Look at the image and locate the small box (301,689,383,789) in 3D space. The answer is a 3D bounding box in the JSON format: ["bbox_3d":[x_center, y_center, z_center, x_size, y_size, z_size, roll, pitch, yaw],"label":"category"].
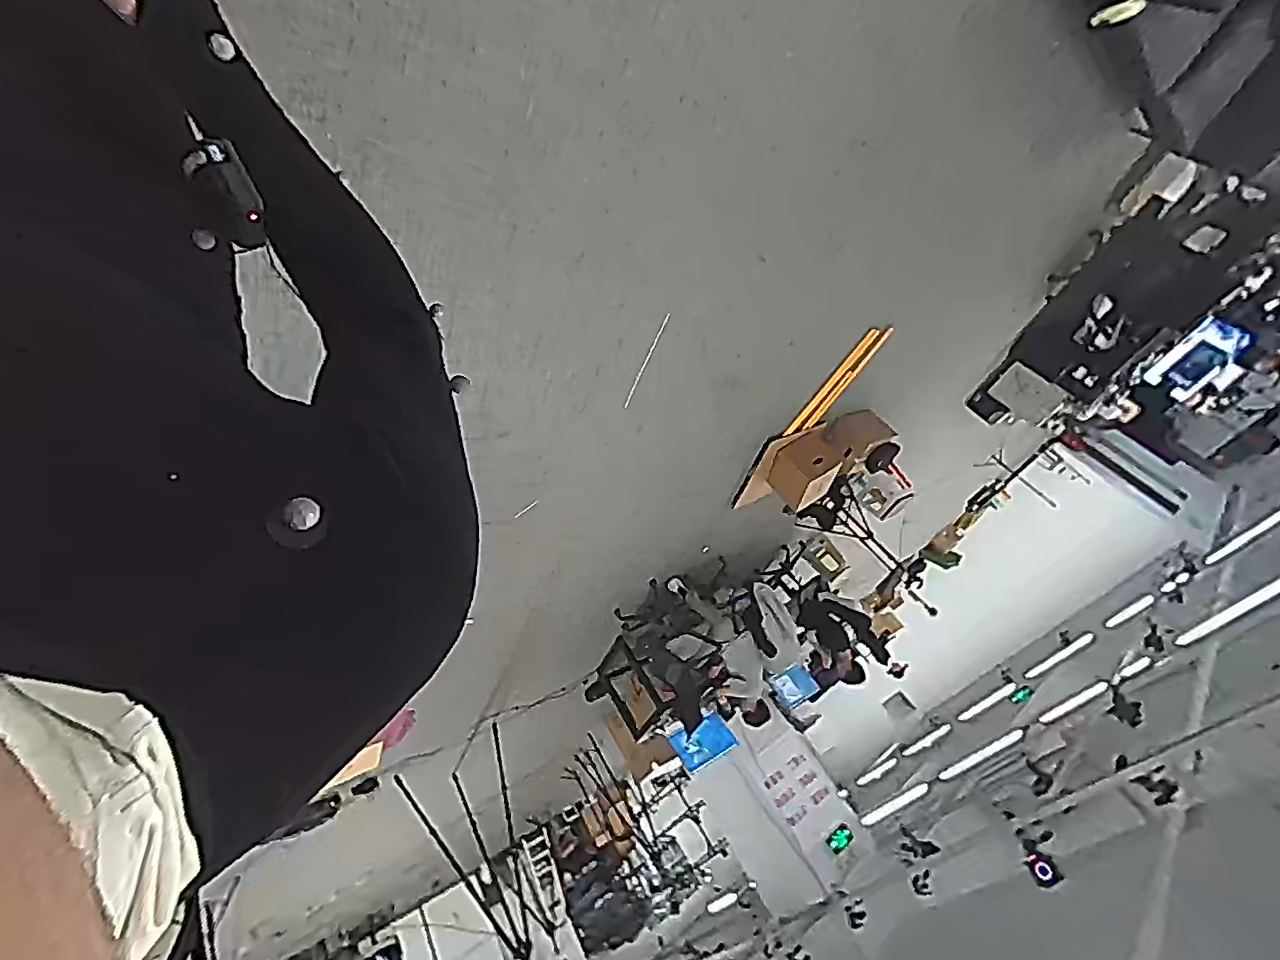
[{"bbox_3d":[-0.844,0.726,1.525,0.168,0.176,0.179,-10,140,-40],"label":"small box"}]
